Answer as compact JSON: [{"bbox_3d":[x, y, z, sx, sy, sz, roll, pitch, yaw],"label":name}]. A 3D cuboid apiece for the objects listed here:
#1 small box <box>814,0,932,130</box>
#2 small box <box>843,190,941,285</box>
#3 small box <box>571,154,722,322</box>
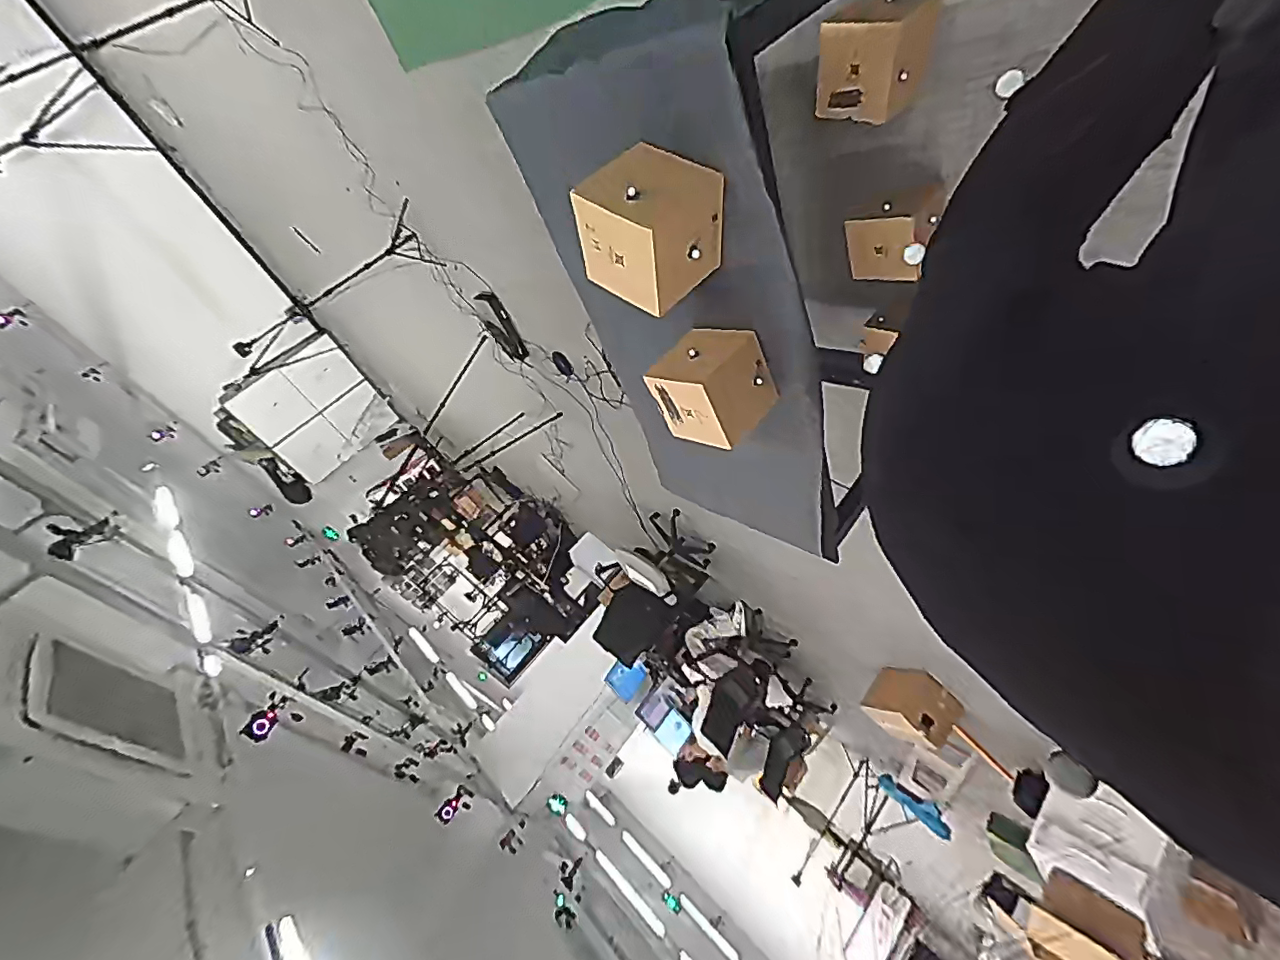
[{"bbox_3d":[0.495,-0.890,1.157,0.168,0.176,0.179,30,154,30],"label":"small box"},{"bbox_3d":[0.653,-0.623,1.391,0.179,0.176,0.168,23,151,44],"label":"small box"},{"bbox_3d":[0.018,-0.402,0.894,0.179,0.176,0.168,37,159,23],"label":"small box"}]
